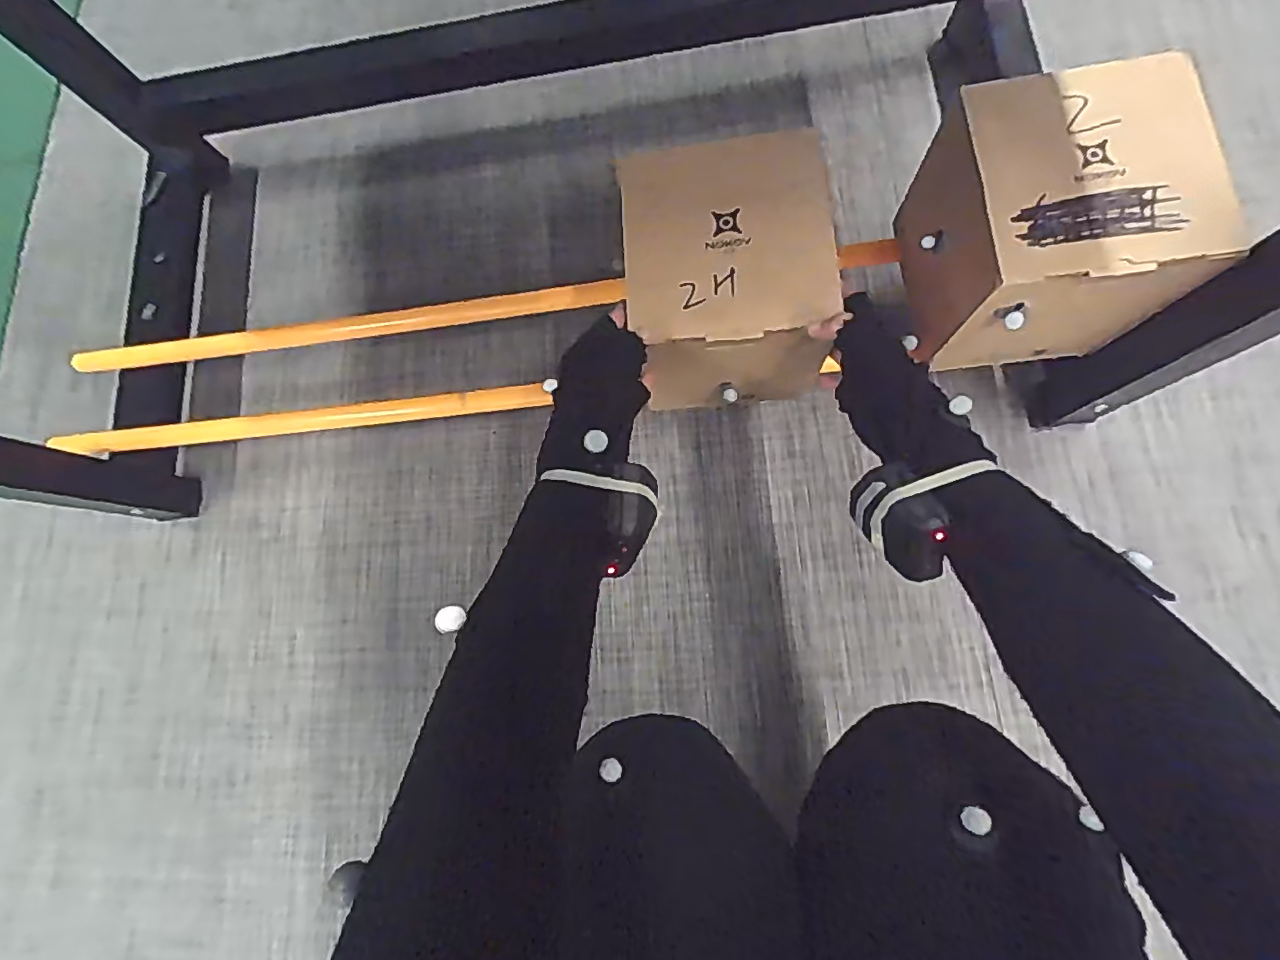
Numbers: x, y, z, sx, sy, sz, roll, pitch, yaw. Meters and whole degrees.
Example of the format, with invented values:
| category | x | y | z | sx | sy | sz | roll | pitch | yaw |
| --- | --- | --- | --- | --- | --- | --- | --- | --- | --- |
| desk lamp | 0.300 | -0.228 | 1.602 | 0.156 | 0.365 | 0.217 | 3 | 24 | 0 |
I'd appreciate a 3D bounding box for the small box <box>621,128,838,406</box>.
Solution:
| category | x | y | z | sx | sy | sz | roll | pitch | yaw |
| --- | --- | --- | --- | --- | --- | --- | --- | --- | --- |
| small box | 0.076 | -0.184 | 0.512 | 0.168 | 0.176 | 0.179 | -4 | 80 | 7 |
